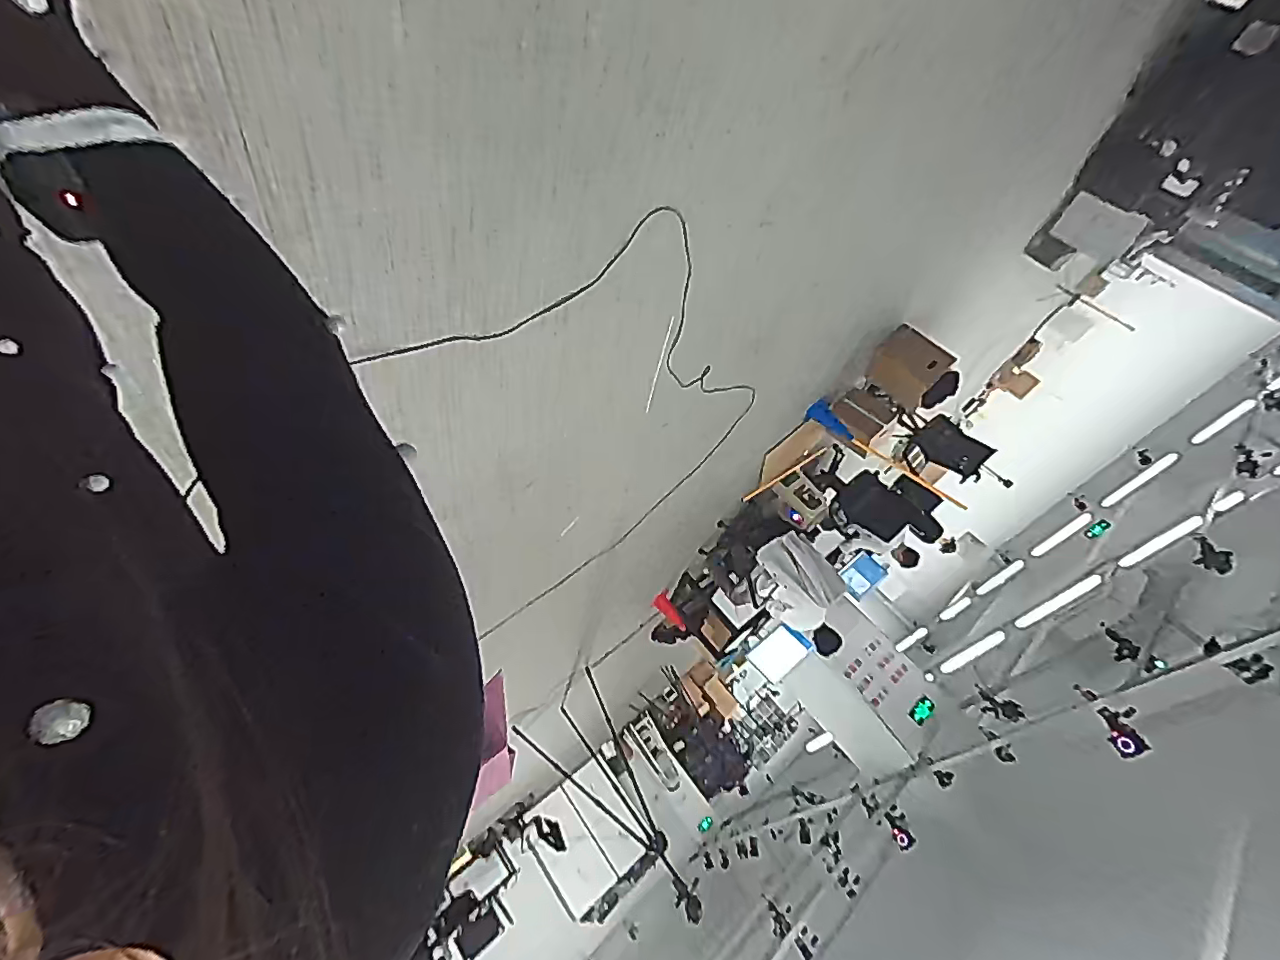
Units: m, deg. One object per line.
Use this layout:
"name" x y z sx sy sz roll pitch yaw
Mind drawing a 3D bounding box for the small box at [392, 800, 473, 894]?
"small box" -0.625 1.106 1.634 0.168 0.176 0.179 -29 153 -30

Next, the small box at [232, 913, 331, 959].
"small box" -0.944 1.288 1.429 0.168 0.176 0.179 -30 155 -30
